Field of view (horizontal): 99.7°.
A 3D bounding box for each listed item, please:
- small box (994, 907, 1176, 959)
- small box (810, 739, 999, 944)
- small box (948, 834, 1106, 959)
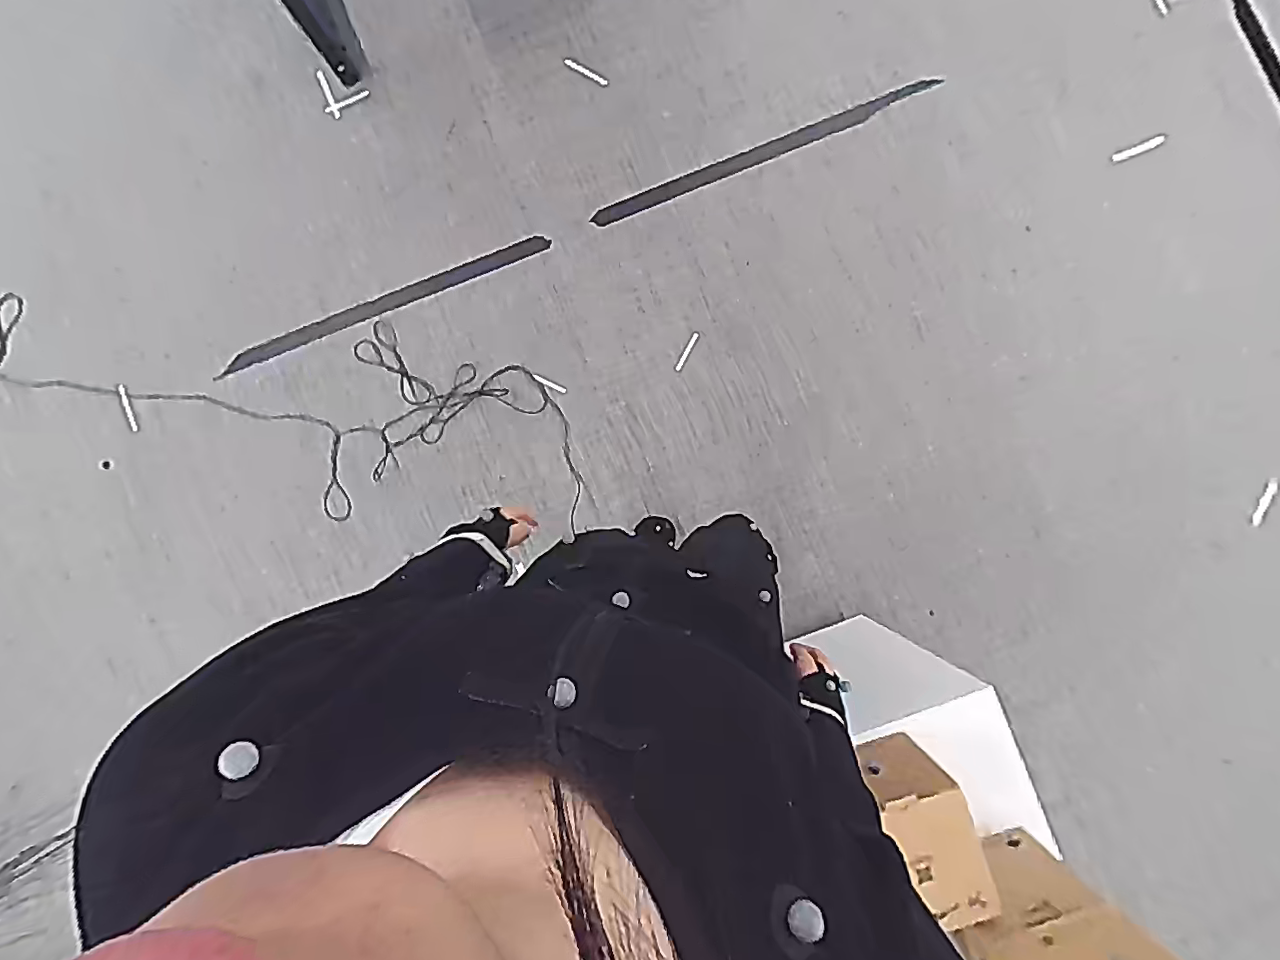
[{"bbox_3d":[0.554,0.641,0.618,0.168,0.176,0.179,-22,87,2],"label":"small box"},{"bbox_3d":[0.370,0.507,0.792,0.168,0.176,0.179,-18,87,1],"label":"small box"},{"bbox_3d":[0.553,0.652,0.780,0.168,0.176,0.179,-19,87,1],"label":"small box"}]
